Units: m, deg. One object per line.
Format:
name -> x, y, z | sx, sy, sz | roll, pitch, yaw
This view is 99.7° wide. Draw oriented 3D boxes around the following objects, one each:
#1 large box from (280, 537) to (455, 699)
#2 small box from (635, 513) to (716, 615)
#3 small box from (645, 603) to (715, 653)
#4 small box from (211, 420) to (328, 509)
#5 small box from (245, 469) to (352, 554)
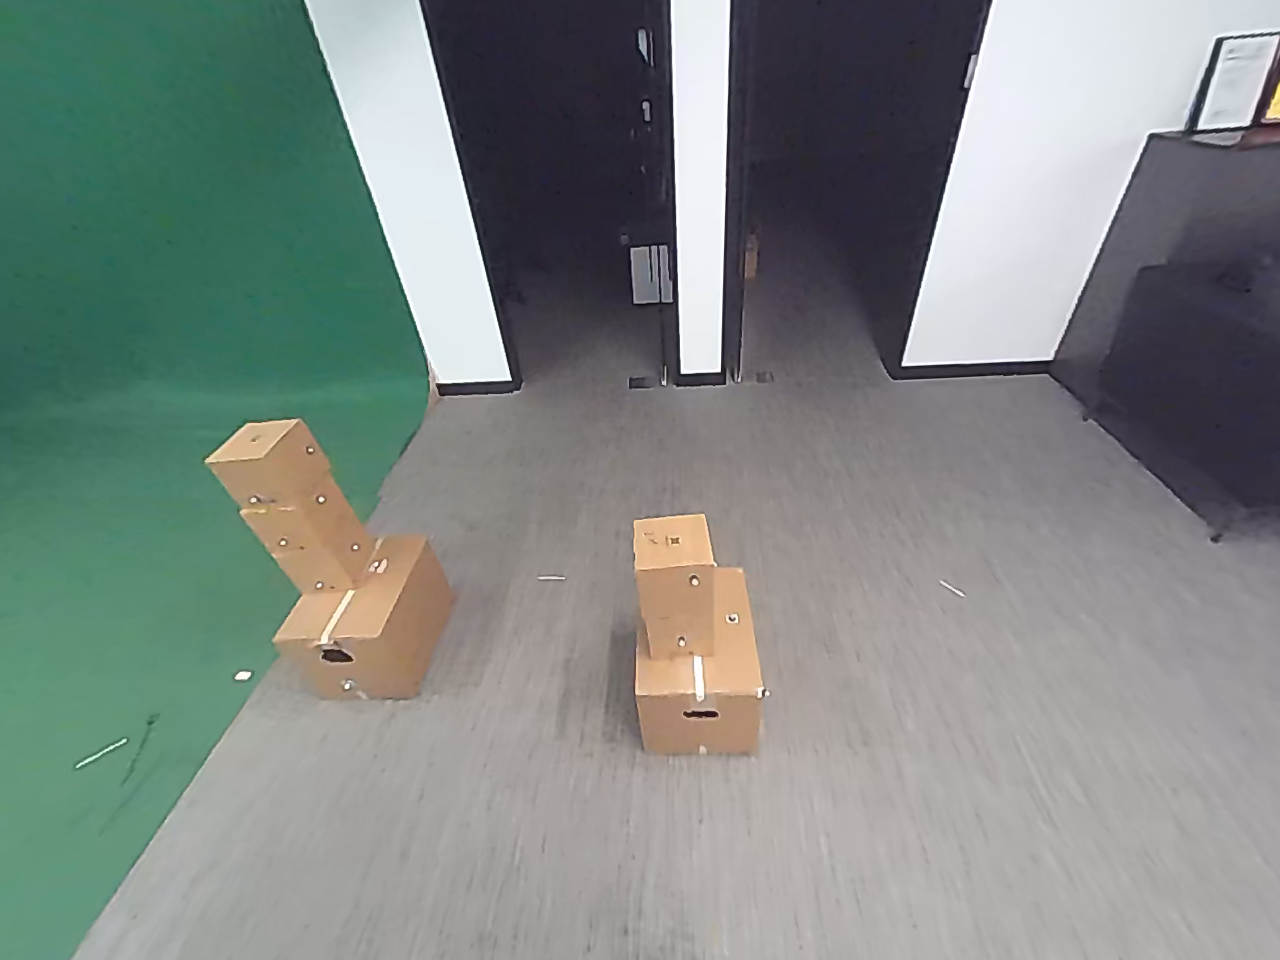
large box -> -0.844, 0.440, 1.746 | 0.320, 0.320, 0.408 | -3, 37, 5
small box -> 0.083, 0.201, 1.278 | 0.179, 0.176, 0.168 | -6, 38, 3
small box -> 0.101, 0.328, 1.383 | 0.168, 0.176, 0.179 | -5, 39, 3
small box -> -0.976, -0.041, 1.449 | 0.168, 0.176, 0.179 | -4, 39, 8
small box -> -0.961, 0.090, 1.545 | 0.168, 0.176, 0.179 | -5, 39, 6
